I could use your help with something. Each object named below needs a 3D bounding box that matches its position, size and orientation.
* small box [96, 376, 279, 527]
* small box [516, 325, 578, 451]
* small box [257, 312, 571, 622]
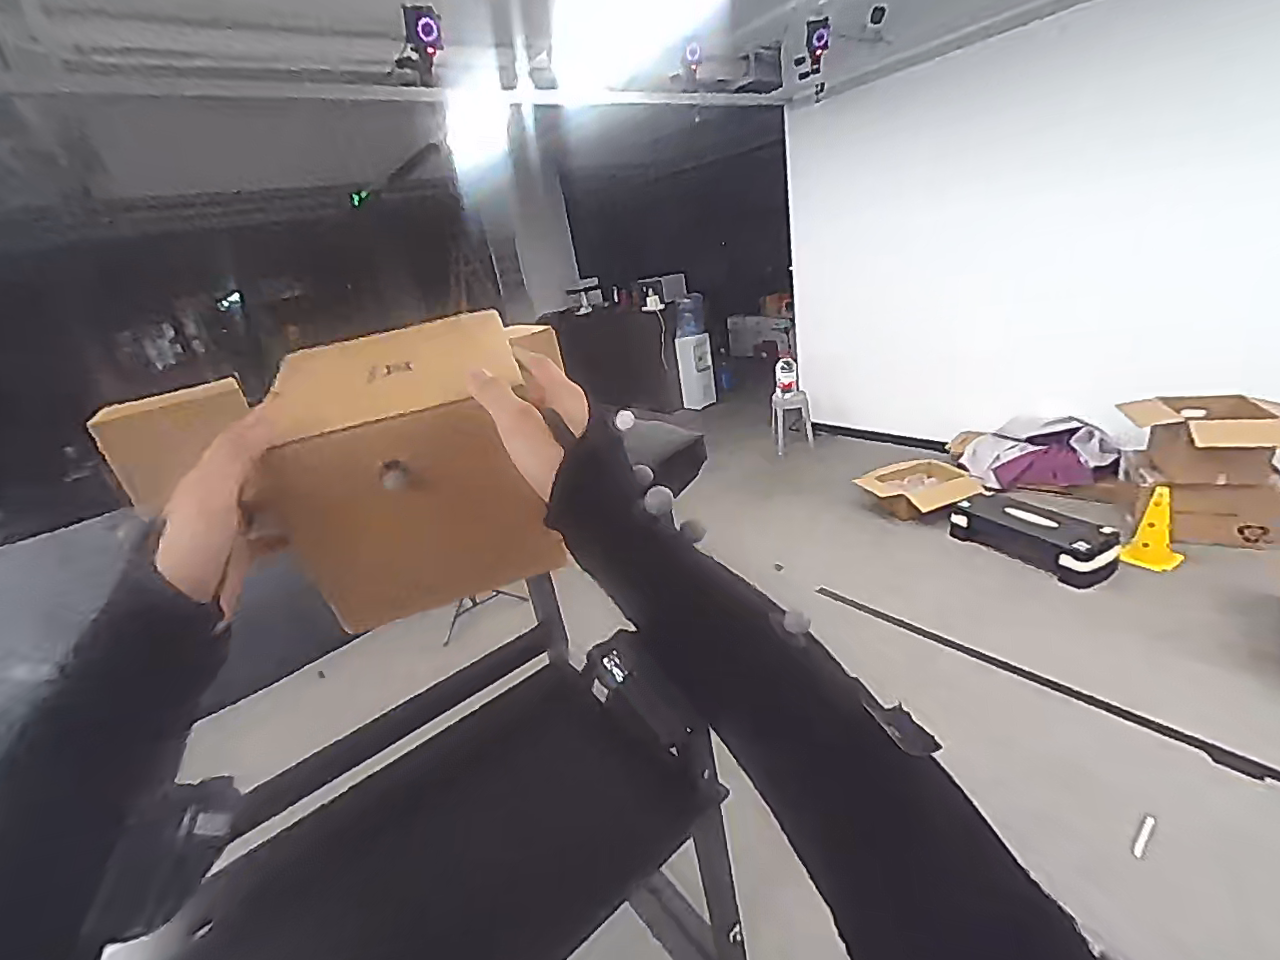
[{"bbox_3d":[-0.649,-0.048,0.806,0.168,0.176,0.179,-26,28,-31],"label":"small box"},{"bbox_3d":[-0.210,-0.125,0.795,0.168,0.176,0.179,-22,26,-25],"label":"small box"},{"bbox_3d":[-0.162,-0.016,0.446,0.179,0.176,0.168,-17,37,-11],"label":"small box"}]
